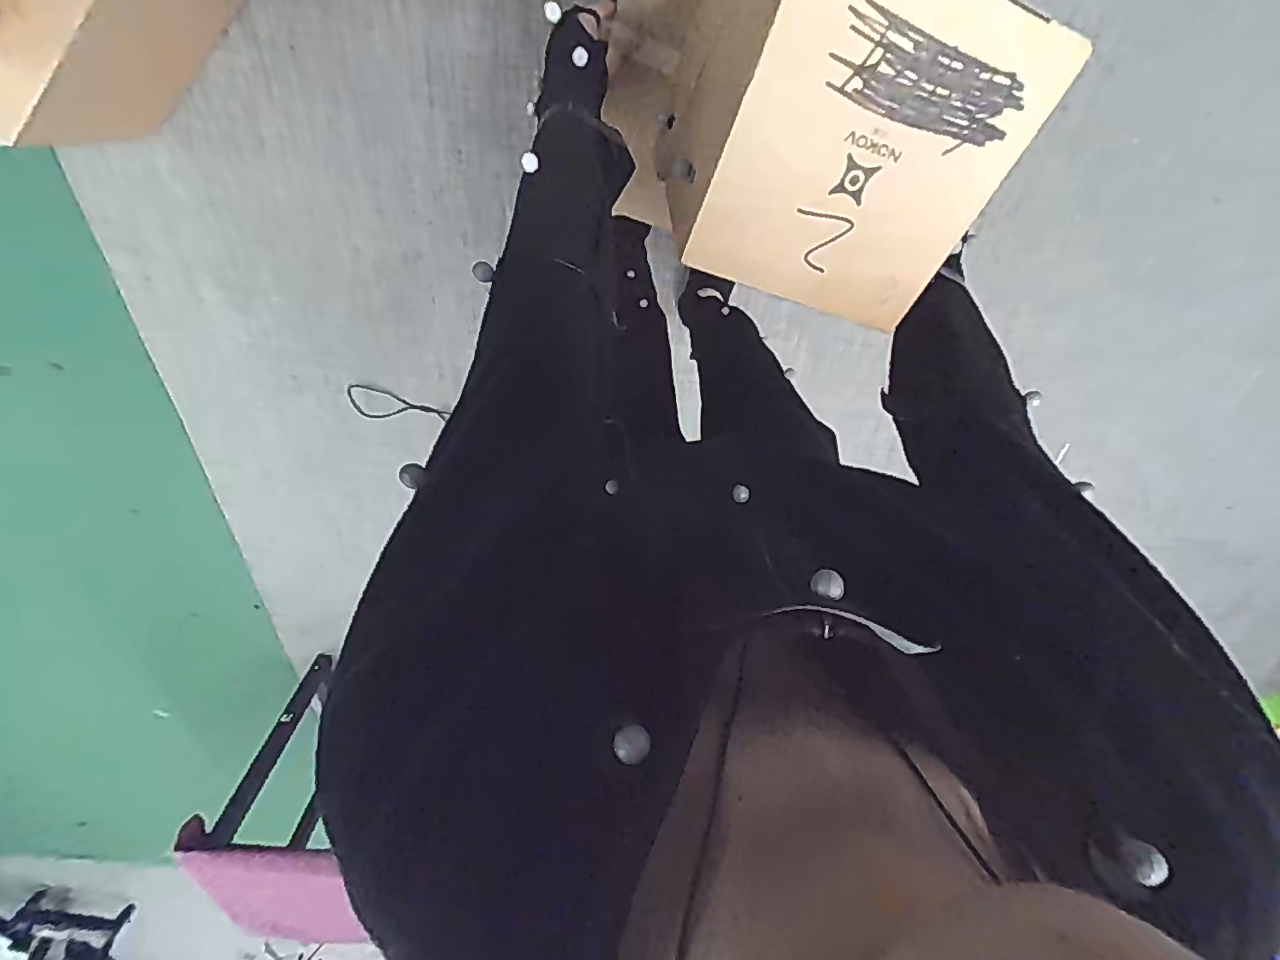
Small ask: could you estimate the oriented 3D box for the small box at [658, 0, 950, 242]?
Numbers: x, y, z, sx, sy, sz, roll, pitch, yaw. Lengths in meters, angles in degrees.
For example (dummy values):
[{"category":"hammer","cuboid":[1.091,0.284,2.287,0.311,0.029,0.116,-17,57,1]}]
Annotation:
[{"category":"small box","cuboid":[0.122,-0.358,0.489,0.168,0.176,0.179,18,130,-17]}]
